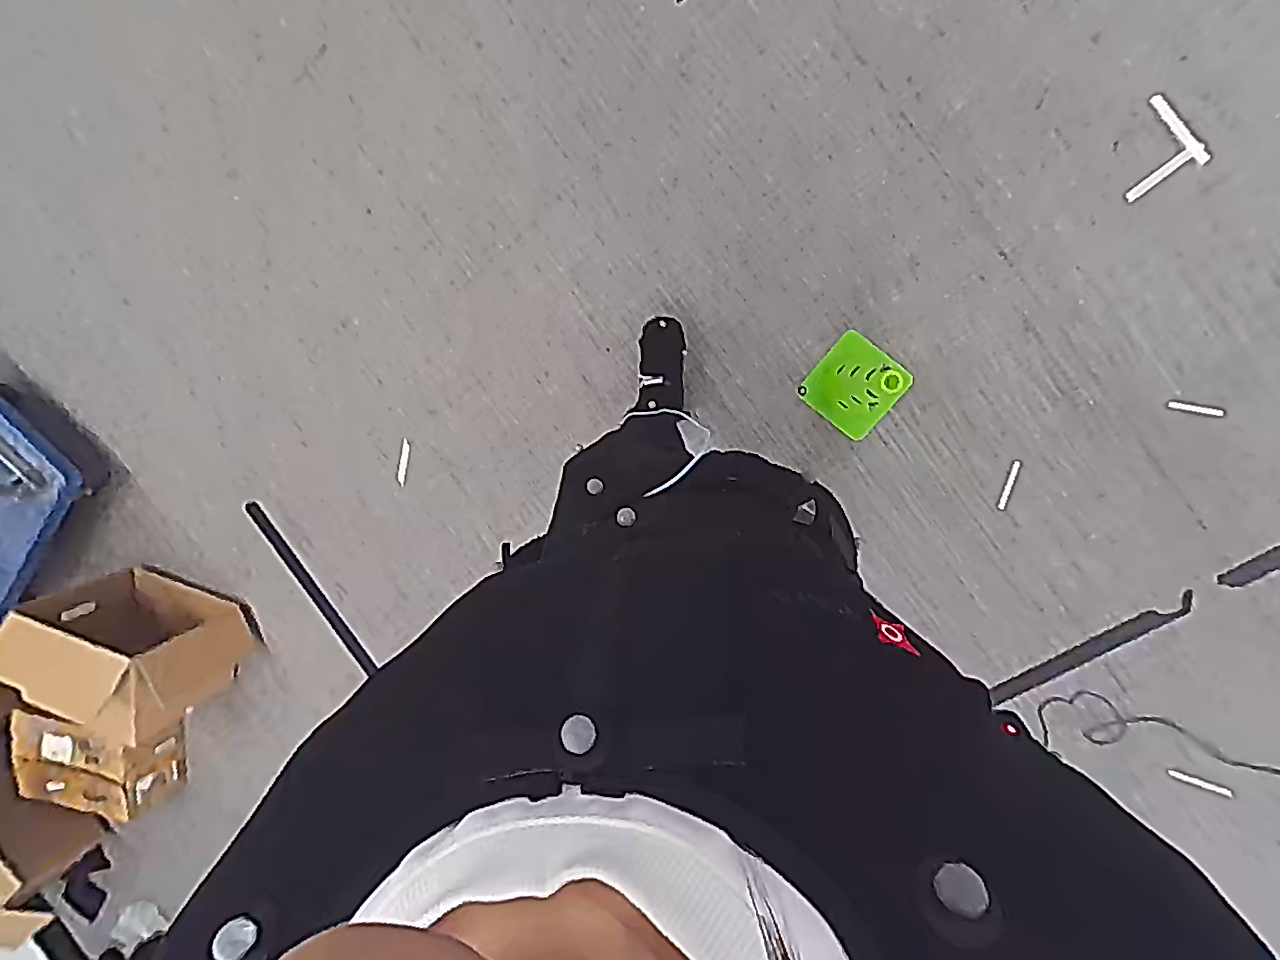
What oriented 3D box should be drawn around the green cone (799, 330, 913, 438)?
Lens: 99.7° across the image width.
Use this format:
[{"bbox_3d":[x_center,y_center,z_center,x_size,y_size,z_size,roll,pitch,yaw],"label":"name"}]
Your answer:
[{"bbox_3d":[0.488,-0.205,1.130,0.200,0.368,0.202,38,102,2],"label":"green cone"}]
